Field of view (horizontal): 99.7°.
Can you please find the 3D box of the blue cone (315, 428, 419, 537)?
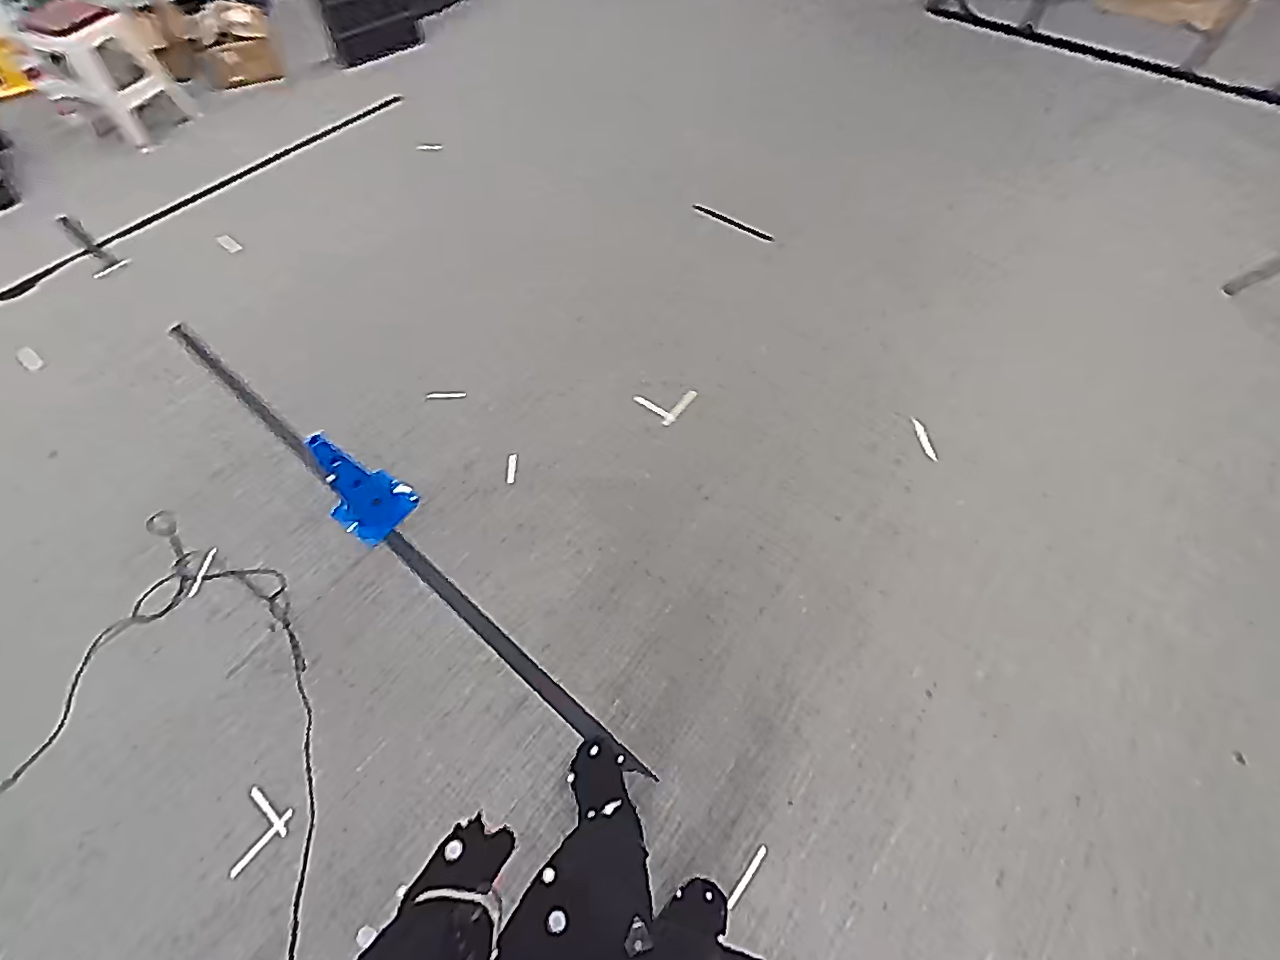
[{"bbox_3d":[-0.797,-0.014,1.499,0.193,0.380,0.192,33,64,18],"label":"blue cone"}]
